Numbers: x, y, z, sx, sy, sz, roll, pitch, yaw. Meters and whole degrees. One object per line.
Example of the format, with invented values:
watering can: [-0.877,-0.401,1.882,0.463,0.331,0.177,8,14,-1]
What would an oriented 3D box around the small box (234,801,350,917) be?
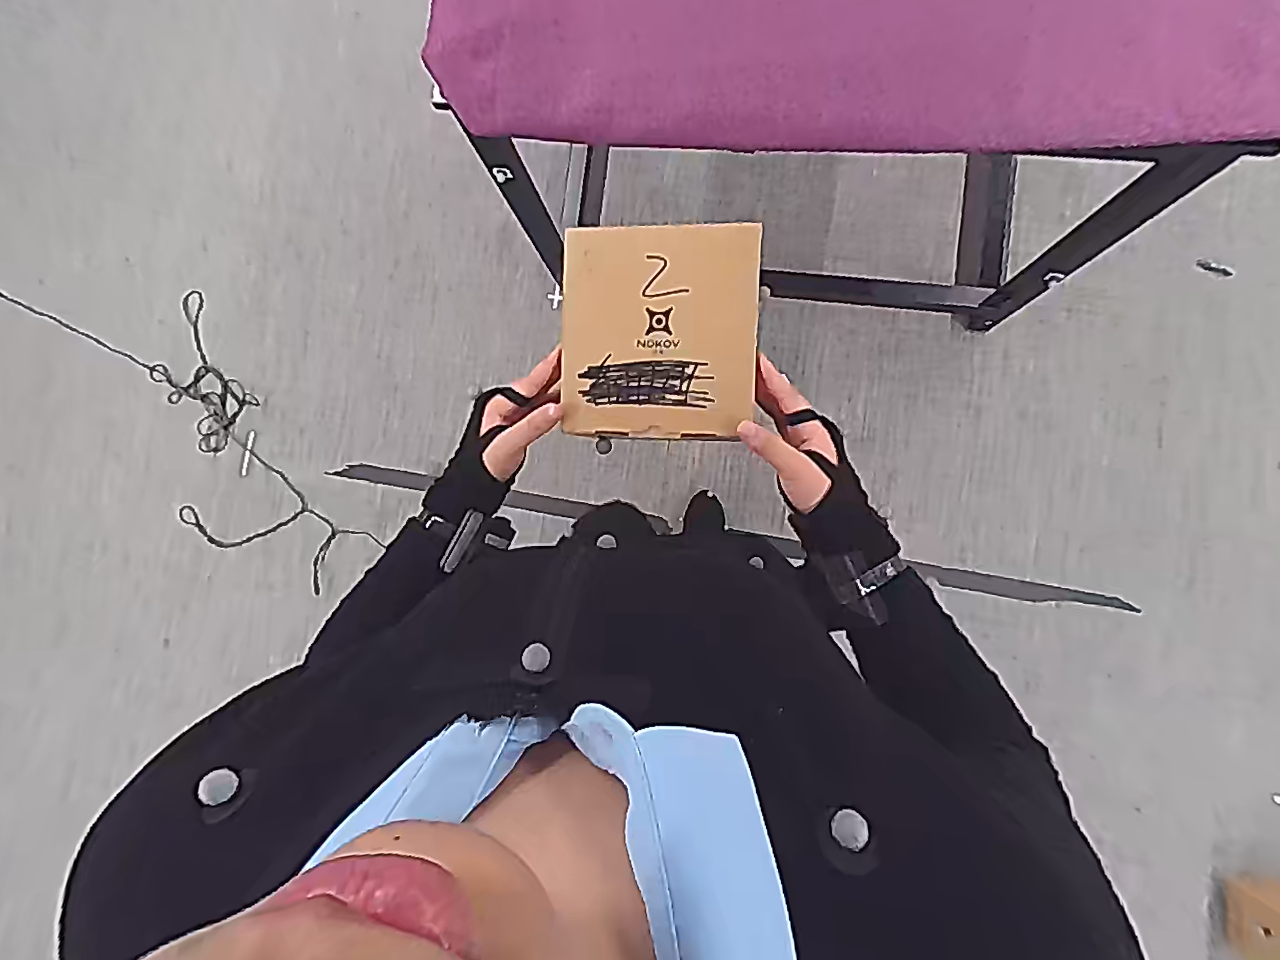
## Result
small box: [-0.921,1.002,1.448,0.179,0.176,0.168,18,87,7]

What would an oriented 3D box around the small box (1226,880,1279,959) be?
small box: [1.461,1.027,1.196,0.179,0.176,0.168,2,86,6]
